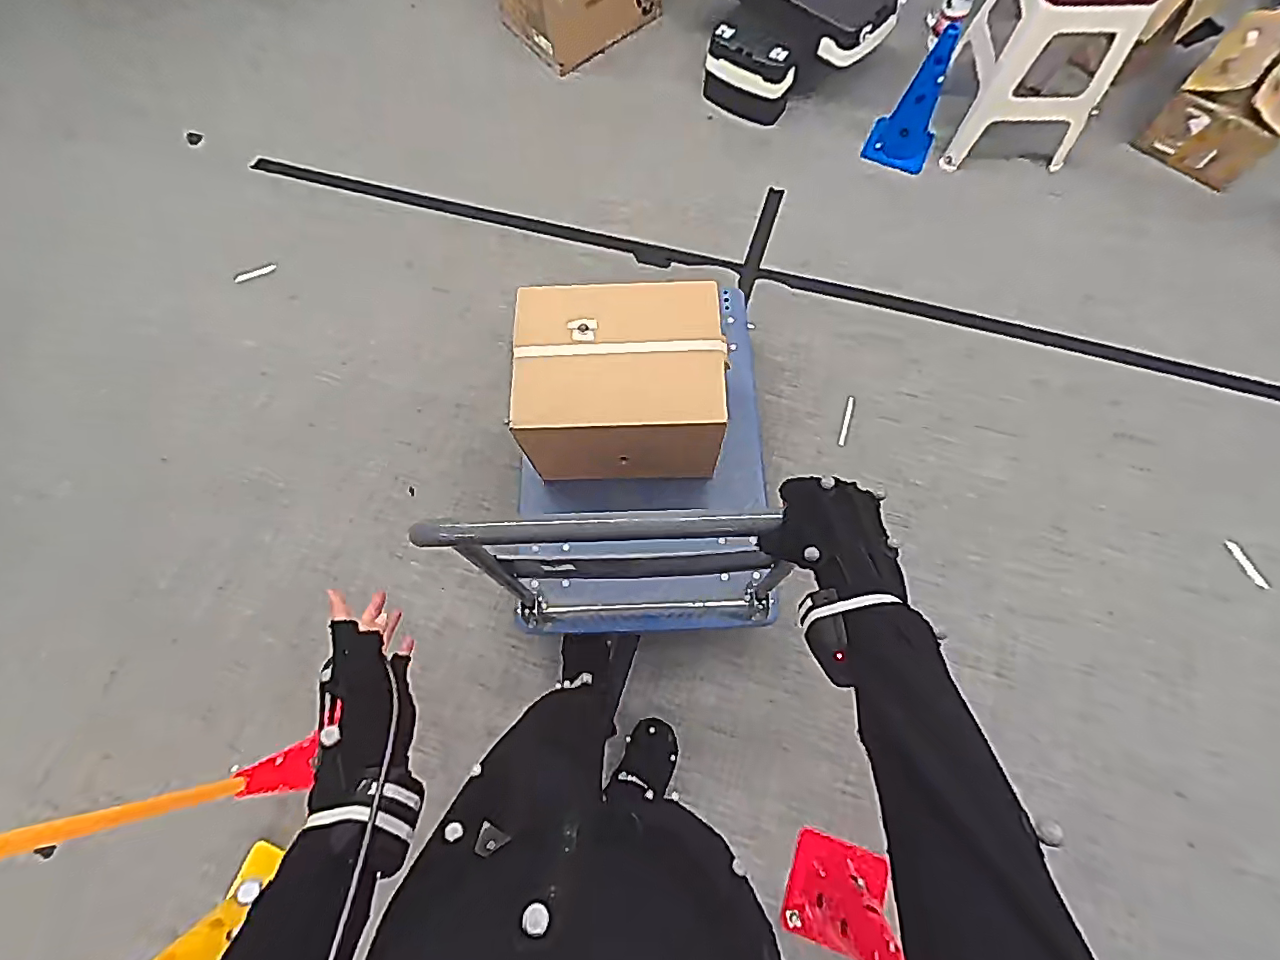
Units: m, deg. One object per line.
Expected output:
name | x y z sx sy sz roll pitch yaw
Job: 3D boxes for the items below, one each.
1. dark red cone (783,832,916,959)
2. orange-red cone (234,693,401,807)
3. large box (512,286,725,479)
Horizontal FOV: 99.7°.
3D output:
dark red cone | 0.410 0.815 0.971 0.201 0.394 0.202 17 73 6
orange-red cone | -0.690 0.576 1.110 0.198 0.360 0.199 25 73 9
large box | -0.036 -0.194 1.188 0.408 0.320 0.320 -1 72 2
